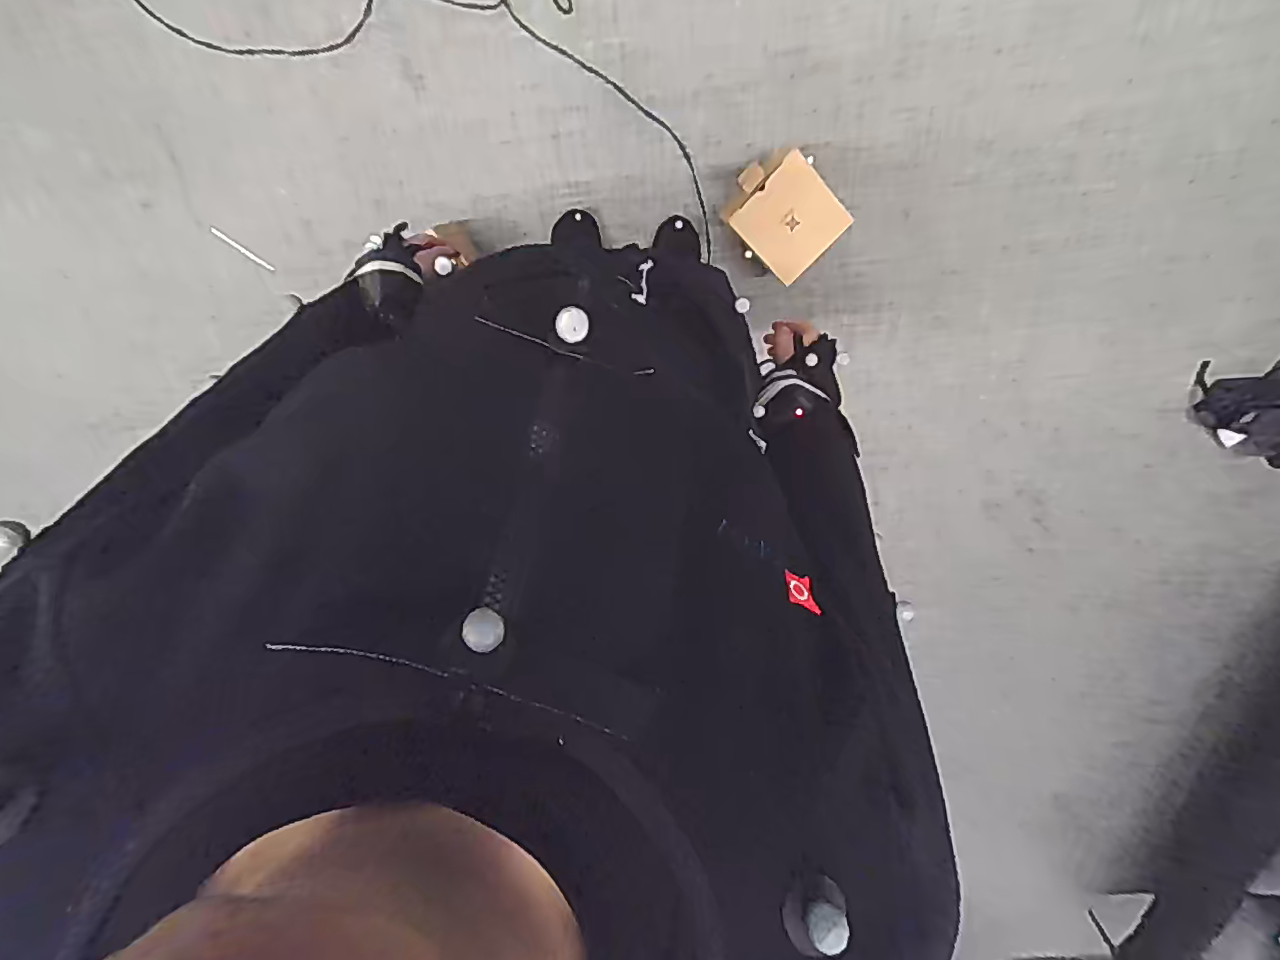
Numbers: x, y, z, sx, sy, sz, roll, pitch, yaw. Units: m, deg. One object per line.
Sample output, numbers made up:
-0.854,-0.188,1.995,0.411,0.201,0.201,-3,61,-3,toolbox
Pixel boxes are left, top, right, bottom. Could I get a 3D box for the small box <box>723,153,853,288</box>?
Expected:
0.286,-0.521,1.081,0.179,0.176,0.168,39,114,-18,small box
